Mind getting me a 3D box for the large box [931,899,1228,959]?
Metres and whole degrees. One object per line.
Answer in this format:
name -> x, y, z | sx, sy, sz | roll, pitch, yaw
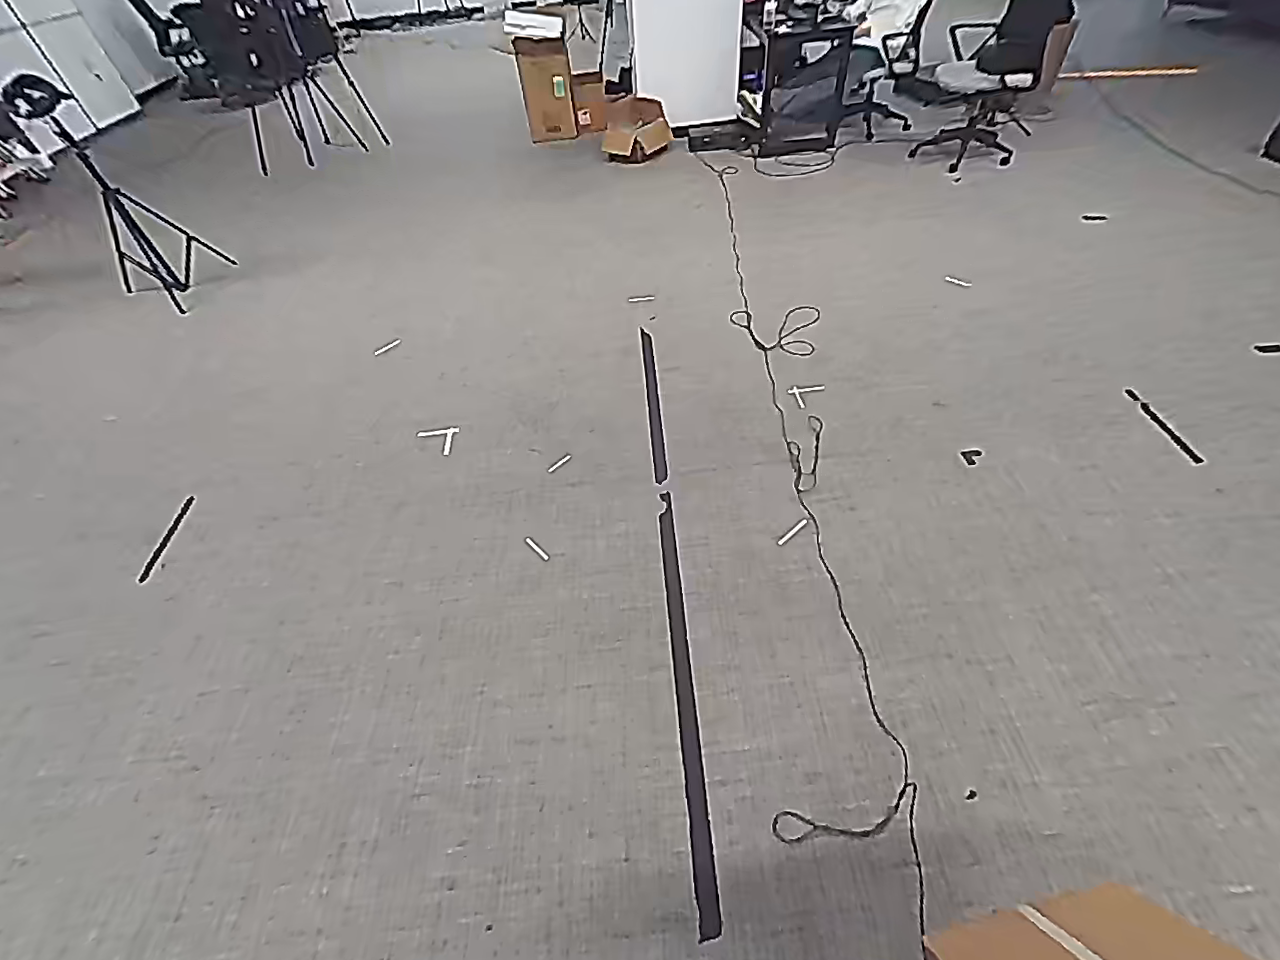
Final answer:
large box -> 0.594, 0.737, 0.555 | 0.320, 0.408, 0.320 | -11, 78, -5
